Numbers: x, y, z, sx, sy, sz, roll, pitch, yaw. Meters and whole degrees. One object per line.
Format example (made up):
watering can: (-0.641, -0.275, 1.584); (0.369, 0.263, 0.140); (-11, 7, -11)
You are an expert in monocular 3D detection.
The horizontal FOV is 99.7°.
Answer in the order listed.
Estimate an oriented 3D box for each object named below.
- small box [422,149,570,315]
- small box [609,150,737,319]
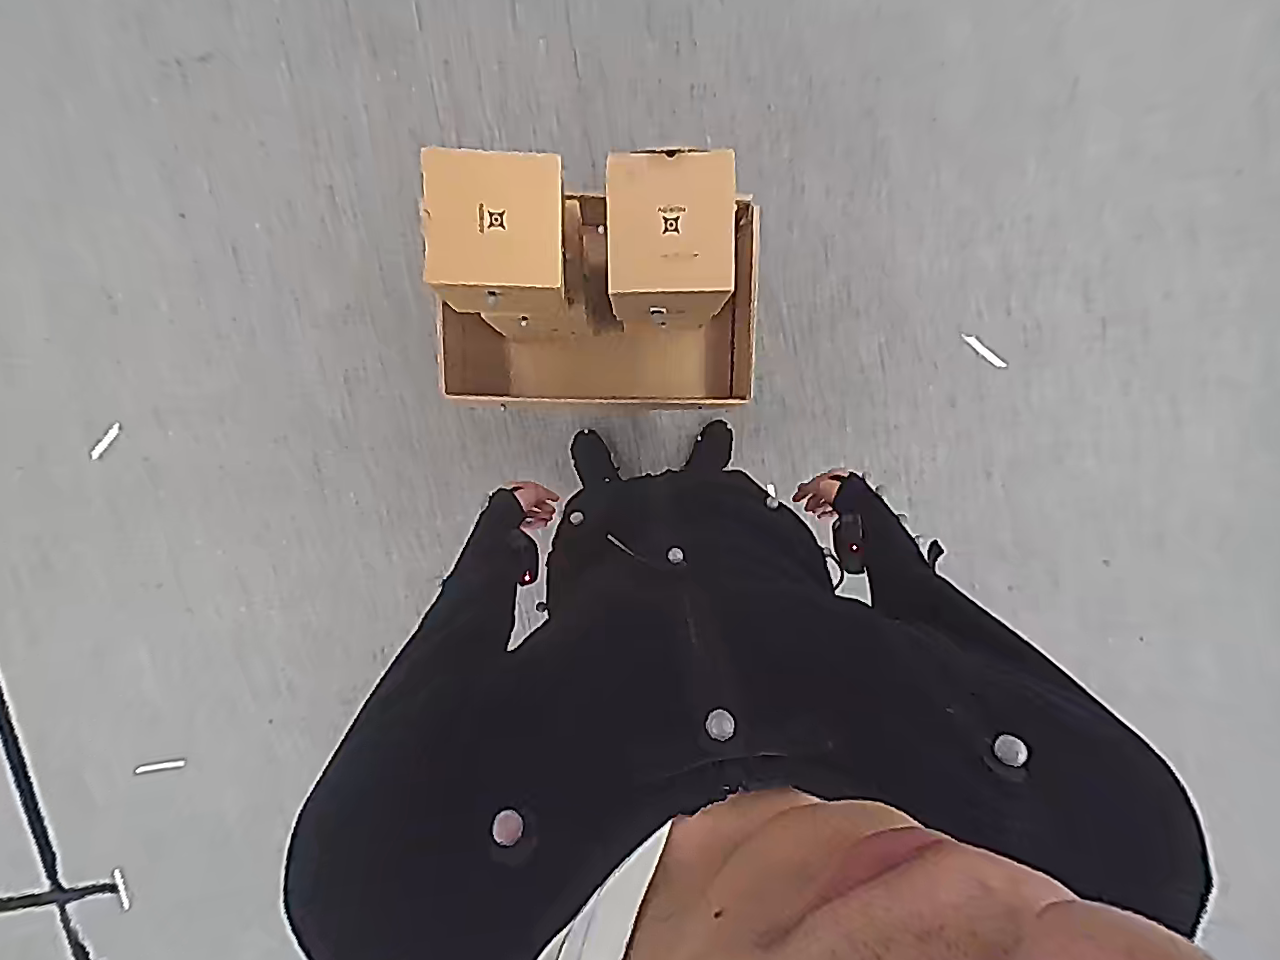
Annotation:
small box: (-0.190, -0.334, 0.760); (0.179, 0.176, 0.168); (0, 96, -4)
small box: (0.040, -0.335, 0.766); (0.168, 0.176, 0.179); (-1, 96, 0)
